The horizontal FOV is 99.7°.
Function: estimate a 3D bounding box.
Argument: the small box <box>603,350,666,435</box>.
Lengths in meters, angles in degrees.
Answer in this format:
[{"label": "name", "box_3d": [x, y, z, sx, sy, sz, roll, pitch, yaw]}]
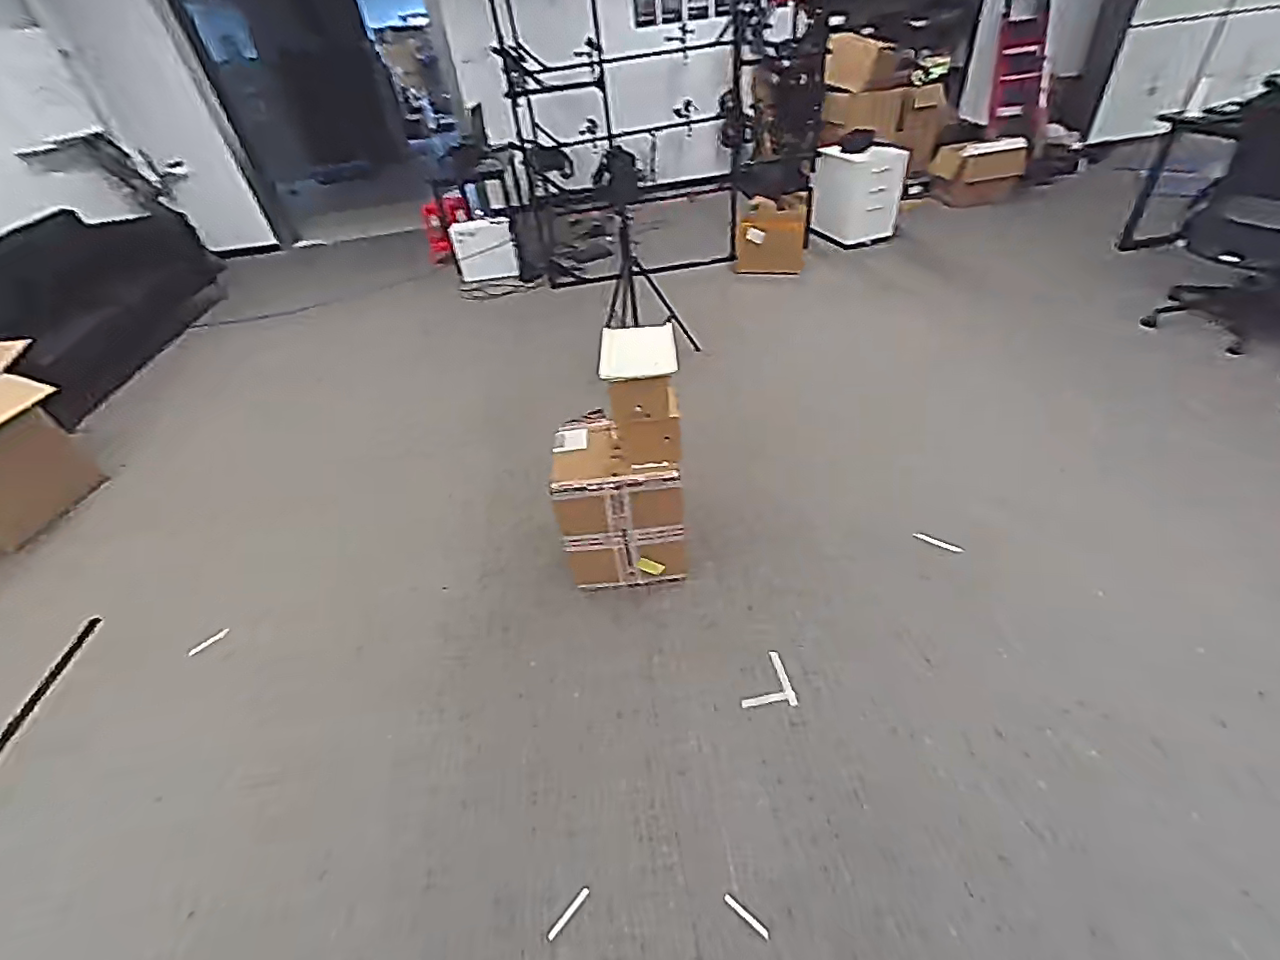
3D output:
[{"label": "small box", "box_3d": [-0.014, -0.246, 1.522, 0.168, 0.176, 0.179, -3, 43, 1]}]

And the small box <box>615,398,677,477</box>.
[{"label": "small box", "box_3d": [0.016, -0.127, 1.633, 0.179, 0.176, 0.168, -6, 41, -1]}]
